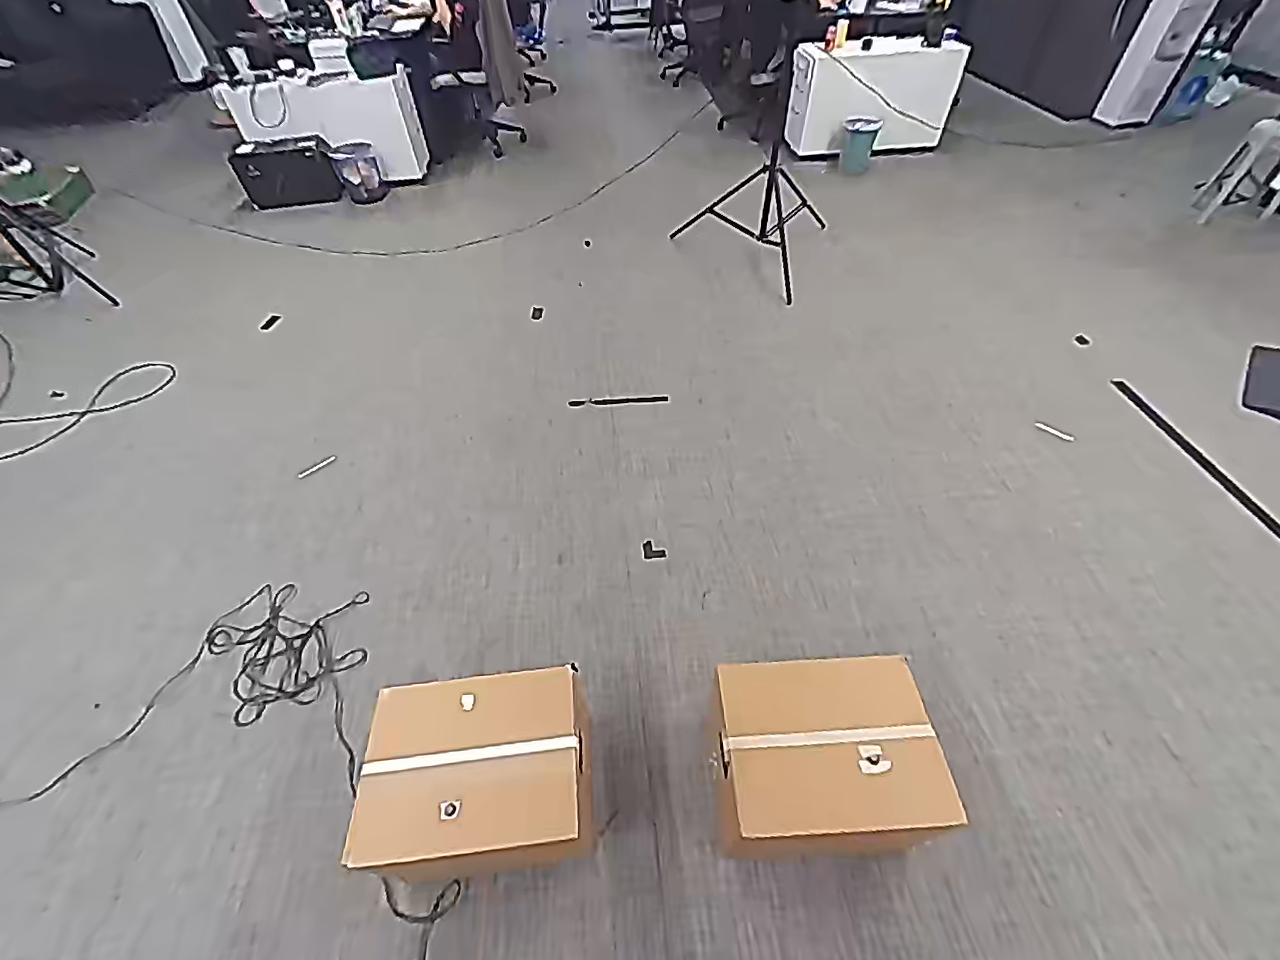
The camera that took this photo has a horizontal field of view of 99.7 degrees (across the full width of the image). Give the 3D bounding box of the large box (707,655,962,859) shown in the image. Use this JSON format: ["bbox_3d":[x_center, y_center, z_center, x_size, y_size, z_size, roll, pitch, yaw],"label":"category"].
[{"bbox_3d":[0.374,0.600,1.169,0.408,0.320,0.320,-2,49,-1],"label":"large box"}]
